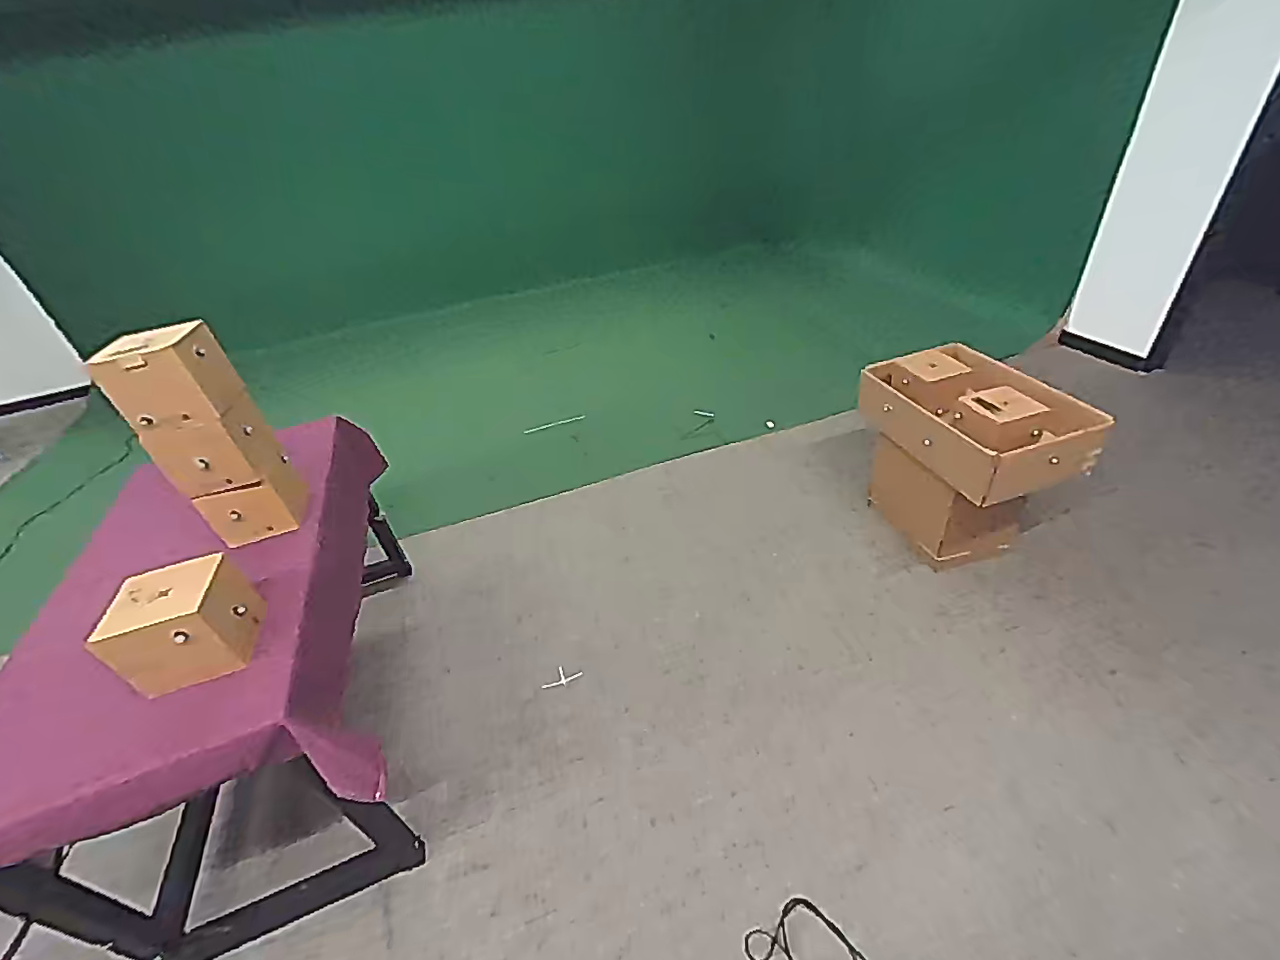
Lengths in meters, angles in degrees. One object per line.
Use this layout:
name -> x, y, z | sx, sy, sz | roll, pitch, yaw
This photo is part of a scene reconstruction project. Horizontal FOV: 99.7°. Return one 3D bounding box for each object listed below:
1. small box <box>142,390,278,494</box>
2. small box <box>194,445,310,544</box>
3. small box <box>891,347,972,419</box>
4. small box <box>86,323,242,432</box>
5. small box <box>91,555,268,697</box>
small box -> -0.991, -0.083, 1.268 | 0.168, 0.176, 0.179 | -16, 38, -8
small box -> -0.970, 0.042, 1.372 | 0.168, 0.176, 0.179 | -18, 37, -11
small box -> 0.987, -0.332, 1.851 | 0.168, 0.176, 0.179 | -15, 38, -6
small box -> -1.014, -0.218, 1.176 | 0.168, 0.176, 0.179 | -16, 36, -8
small box -> -0.857, 0.278, 1.033 | 0.179, 0.176, 0.168 | -17, 37, -10
